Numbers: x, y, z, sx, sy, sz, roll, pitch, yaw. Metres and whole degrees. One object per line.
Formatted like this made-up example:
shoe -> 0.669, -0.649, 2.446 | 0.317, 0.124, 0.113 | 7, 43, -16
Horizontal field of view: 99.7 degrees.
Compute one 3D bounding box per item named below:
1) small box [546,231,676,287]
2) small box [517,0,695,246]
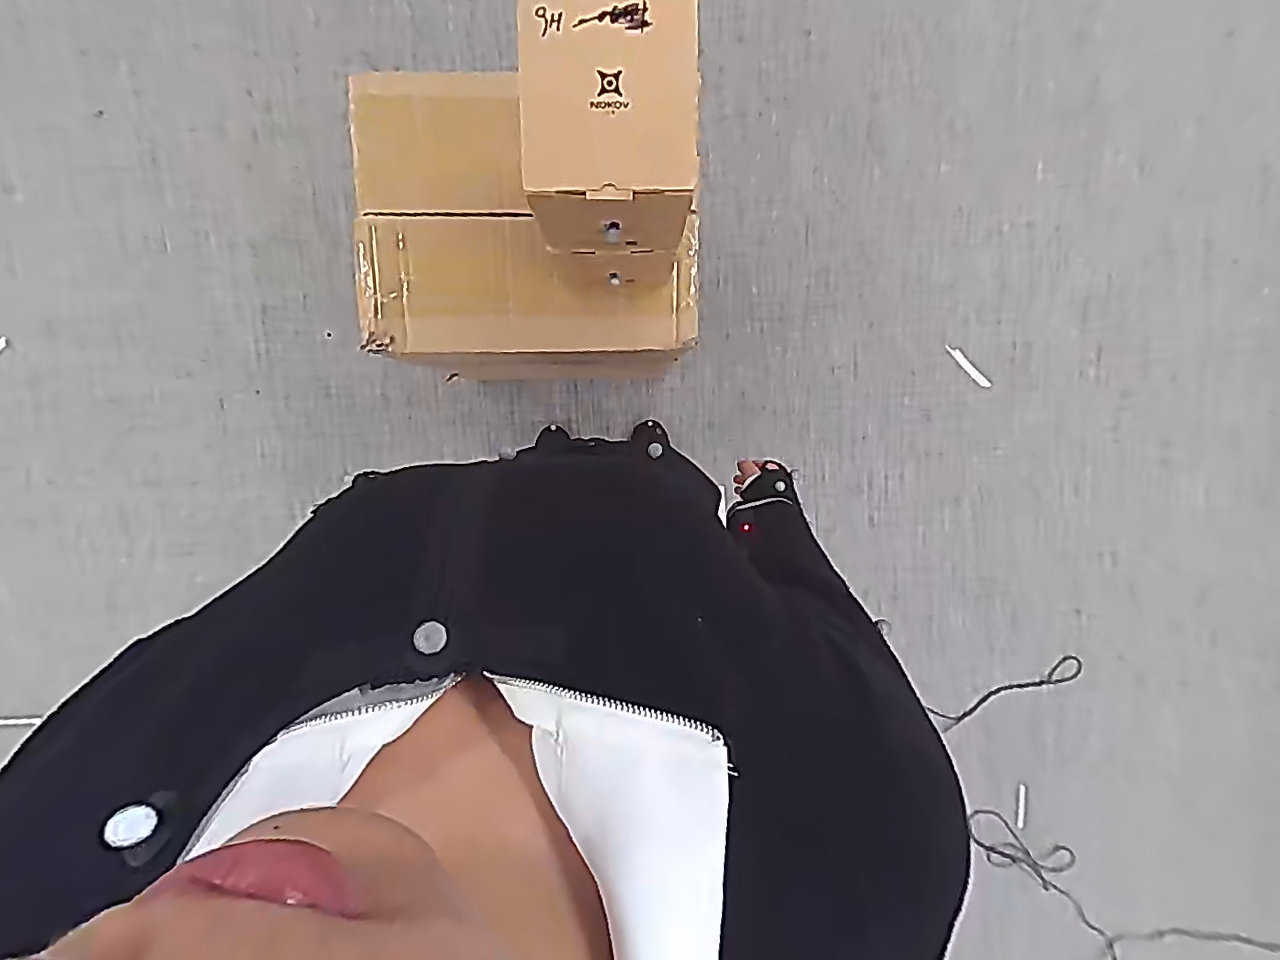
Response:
small box -> -0.039, -0.377, 0.746 | 0.168, 0.176, 0.179 | -1, 97, 0
small box -> -0.032, -0.363, 0.582 | 0.168, 0.176, 0.179 | 0, 97, -1
